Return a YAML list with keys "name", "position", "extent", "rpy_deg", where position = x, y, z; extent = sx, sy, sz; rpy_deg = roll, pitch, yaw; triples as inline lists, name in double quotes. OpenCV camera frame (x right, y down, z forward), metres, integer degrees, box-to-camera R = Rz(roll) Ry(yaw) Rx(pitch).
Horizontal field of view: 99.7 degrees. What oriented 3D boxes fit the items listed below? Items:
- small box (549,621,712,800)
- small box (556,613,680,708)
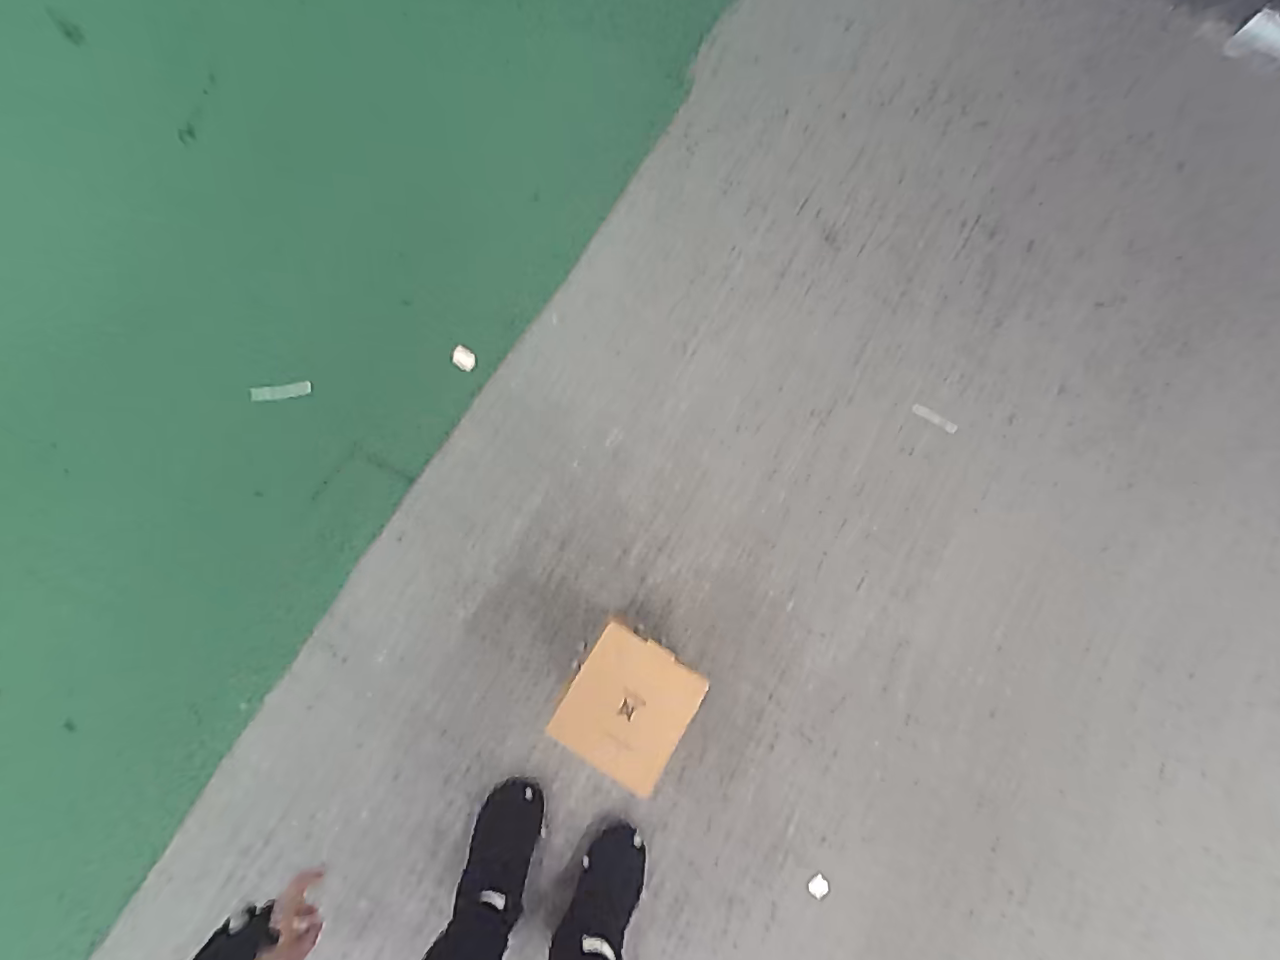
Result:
- name: "small box"
  position: [-0.016, 0.325, 0.809]
  extent: [0.168, 0.176, 0.179]
  rpy_deg: [30, 79, 5]
- name: "small box"
  position: [-0.027, 0.357, 0.968]
  extent: [0.168, 0.176, 0.179]
  rpy_deg: [34, 79, 4]
